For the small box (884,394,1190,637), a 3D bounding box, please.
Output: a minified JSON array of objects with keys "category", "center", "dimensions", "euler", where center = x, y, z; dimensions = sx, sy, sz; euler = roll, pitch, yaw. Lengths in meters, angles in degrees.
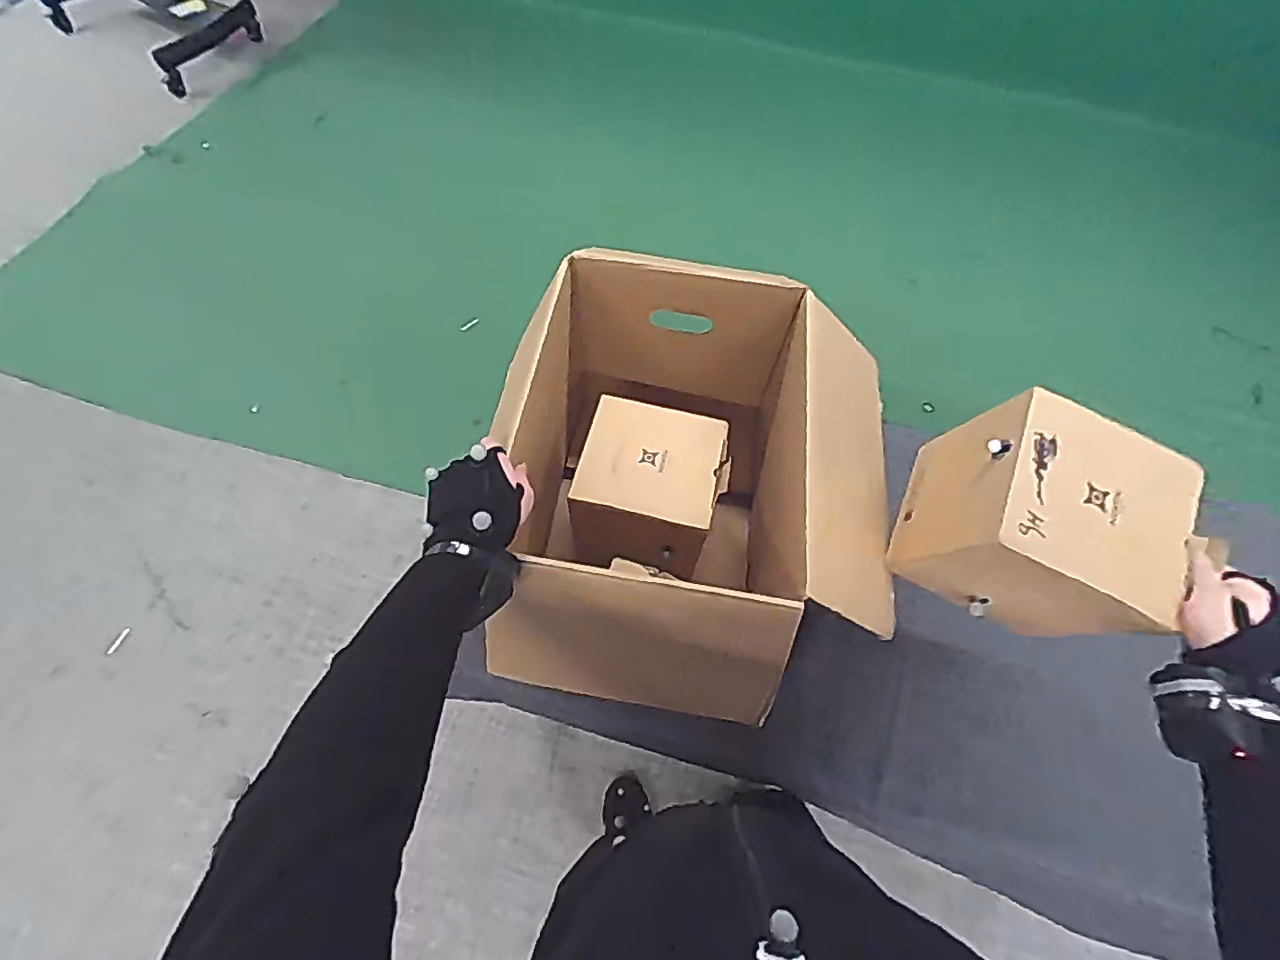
[{"category":"small box","center":[0.395,0.047,0.559],"dimensions":[0.179,0.176,0.168],"euler":[28,70,0]}]
